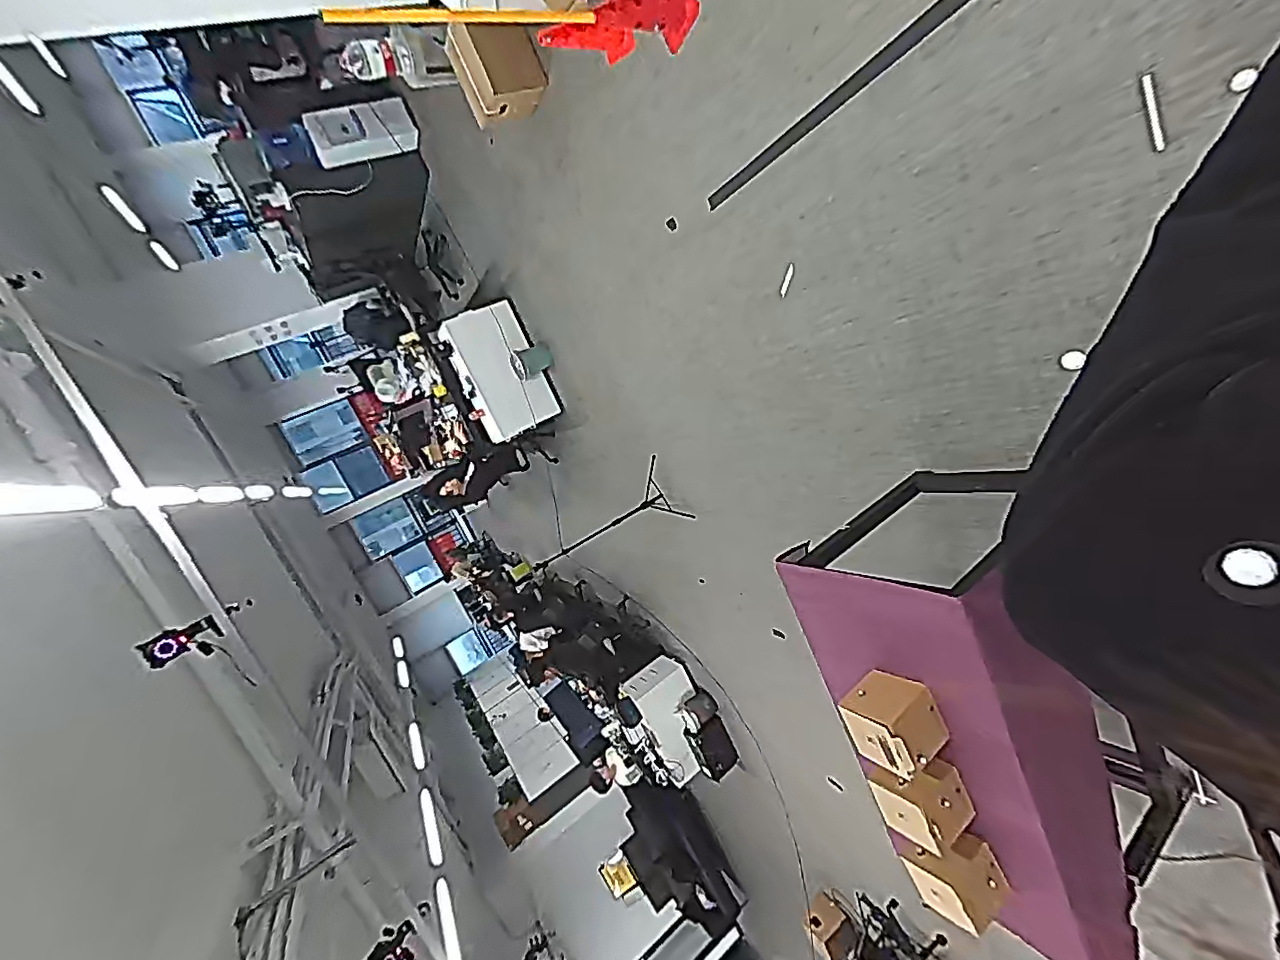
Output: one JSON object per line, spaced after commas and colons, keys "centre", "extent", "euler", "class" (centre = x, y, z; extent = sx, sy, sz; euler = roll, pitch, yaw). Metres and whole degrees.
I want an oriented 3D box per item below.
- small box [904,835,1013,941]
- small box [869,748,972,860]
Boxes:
{"centre": [0.902, 1.127, 1.534], "extent": [0.168, 0.176, 0.179], "euler": [61, 156, -3], "class": "small box"}
{"centre": [0.785, 0.886, 1.500], "extent": [0.179, 0.176, 0.168], "euler": [-7, 110, 65], "class": "small box"}
